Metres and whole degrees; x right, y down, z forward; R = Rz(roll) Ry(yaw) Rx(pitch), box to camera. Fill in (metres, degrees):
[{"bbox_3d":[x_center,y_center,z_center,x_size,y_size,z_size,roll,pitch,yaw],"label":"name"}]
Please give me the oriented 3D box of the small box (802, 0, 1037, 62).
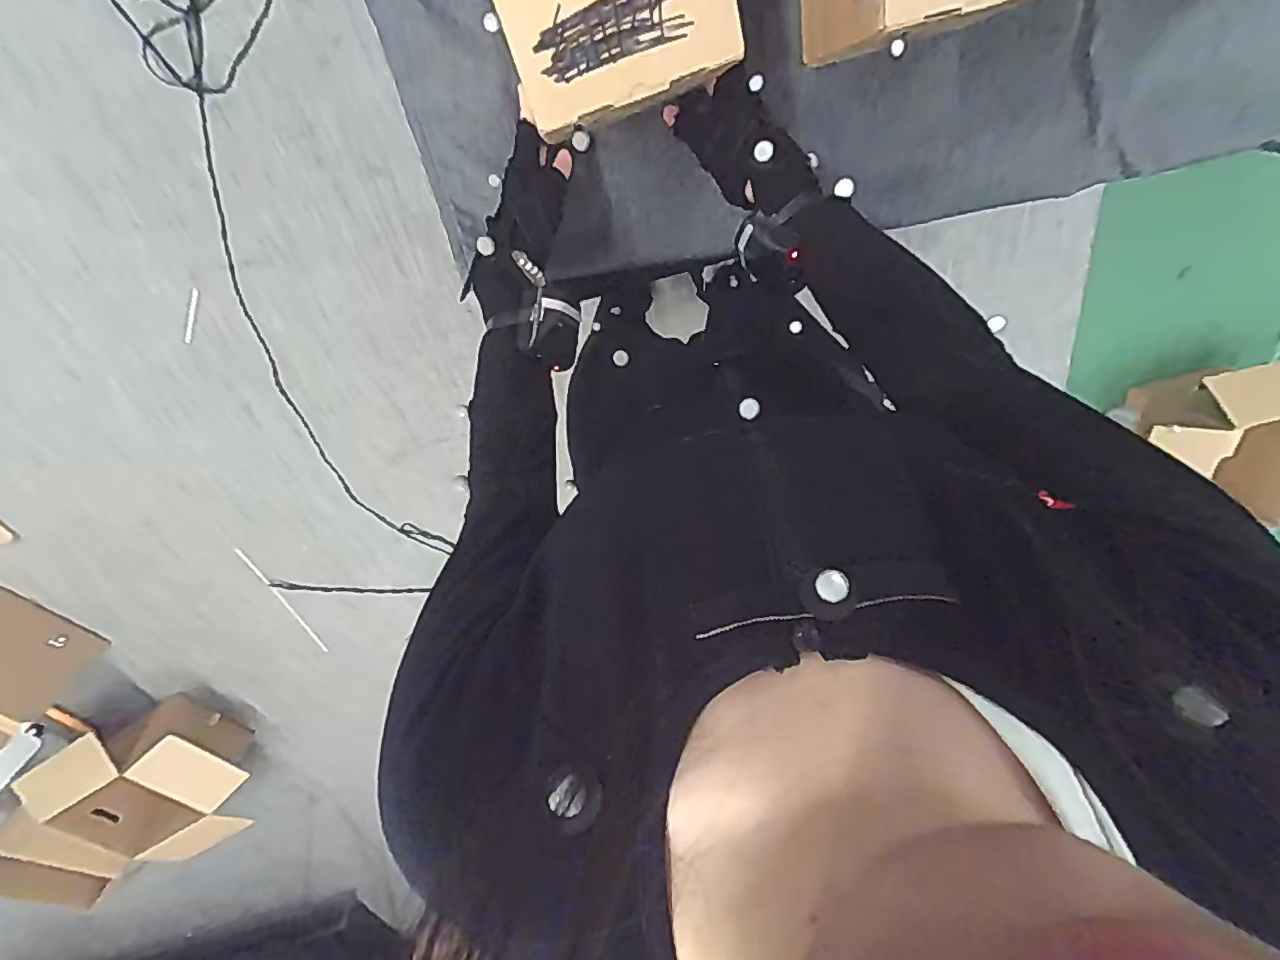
[{"bbox_3d":[0.236,-0.470,0.432,0.168,0.176,0.179,-14,122,1],"label":"small box"}]
